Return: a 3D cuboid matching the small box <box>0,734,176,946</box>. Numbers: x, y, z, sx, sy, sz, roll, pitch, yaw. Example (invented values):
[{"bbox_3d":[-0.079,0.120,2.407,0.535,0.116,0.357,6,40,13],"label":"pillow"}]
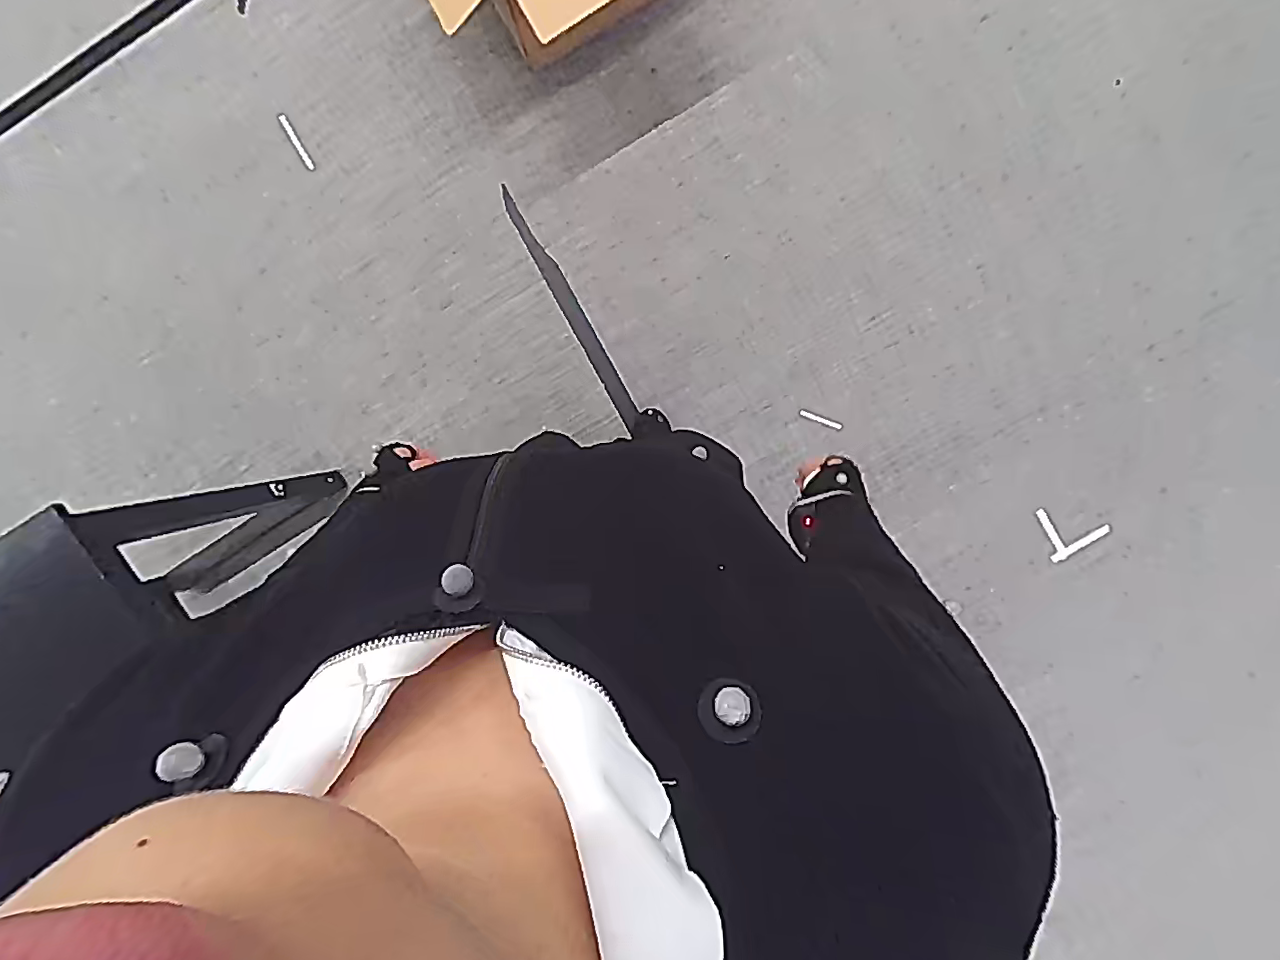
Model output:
[{"bbox_3d":[-0.811,0.482,0.739,0.168,0.176,0.179,-31,94,6],"label":"small box"}]
